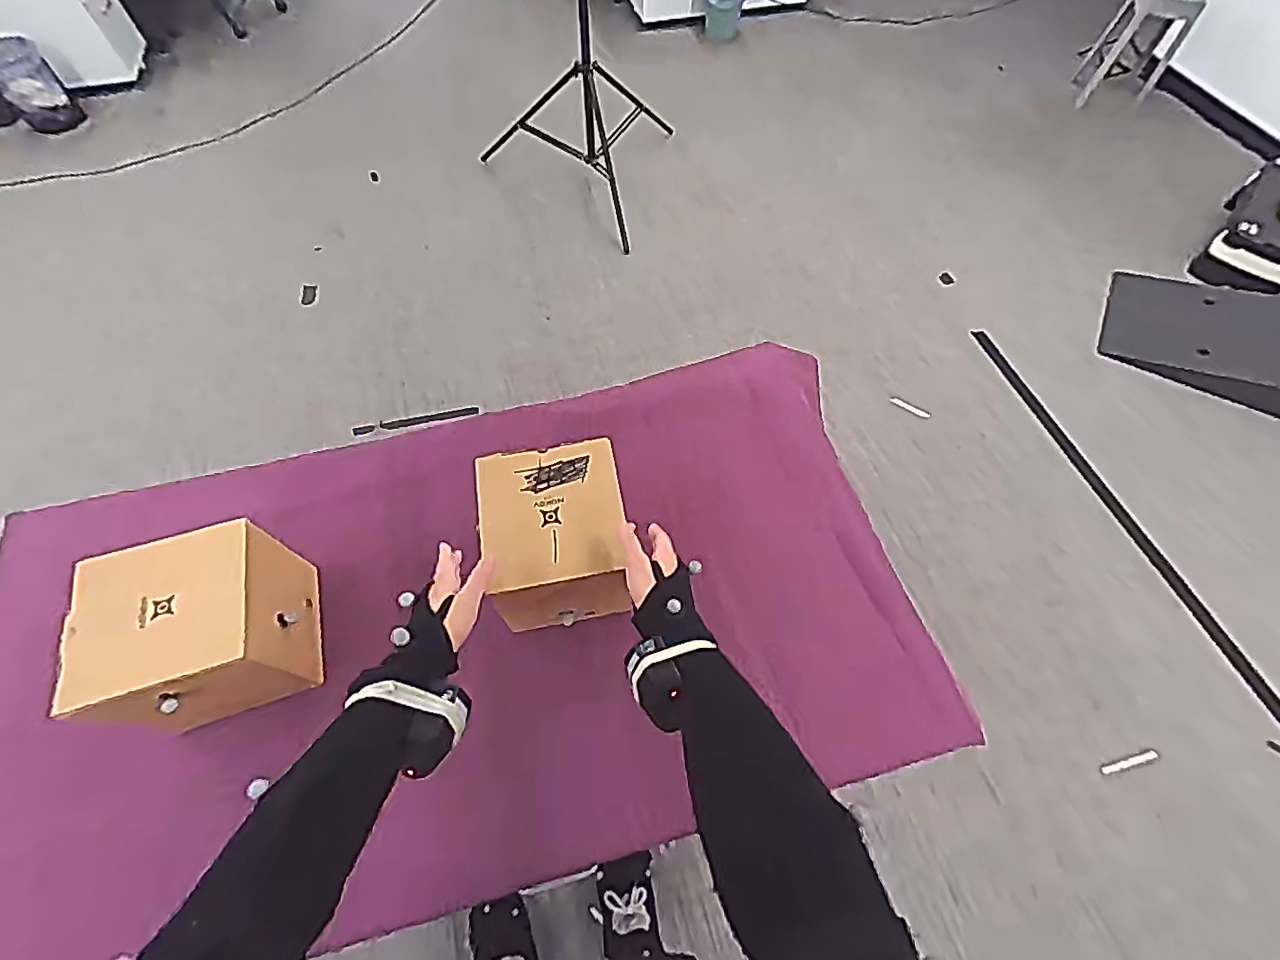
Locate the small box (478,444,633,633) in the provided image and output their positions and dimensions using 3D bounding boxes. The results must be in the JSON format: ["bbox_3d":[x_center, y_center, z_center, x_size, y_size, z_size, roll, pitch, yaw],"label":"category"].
[{"bbox_3d":[-0.105,0.079,0.696,0.168,0.176,0.179,-10,62,-6],"label":"small box"}]

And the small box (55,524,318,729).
[{"bbox_3d":[-0.504,0.177,0.637,0.179,0.176,0.168,-17,63,-10],"label":"small box"}]
